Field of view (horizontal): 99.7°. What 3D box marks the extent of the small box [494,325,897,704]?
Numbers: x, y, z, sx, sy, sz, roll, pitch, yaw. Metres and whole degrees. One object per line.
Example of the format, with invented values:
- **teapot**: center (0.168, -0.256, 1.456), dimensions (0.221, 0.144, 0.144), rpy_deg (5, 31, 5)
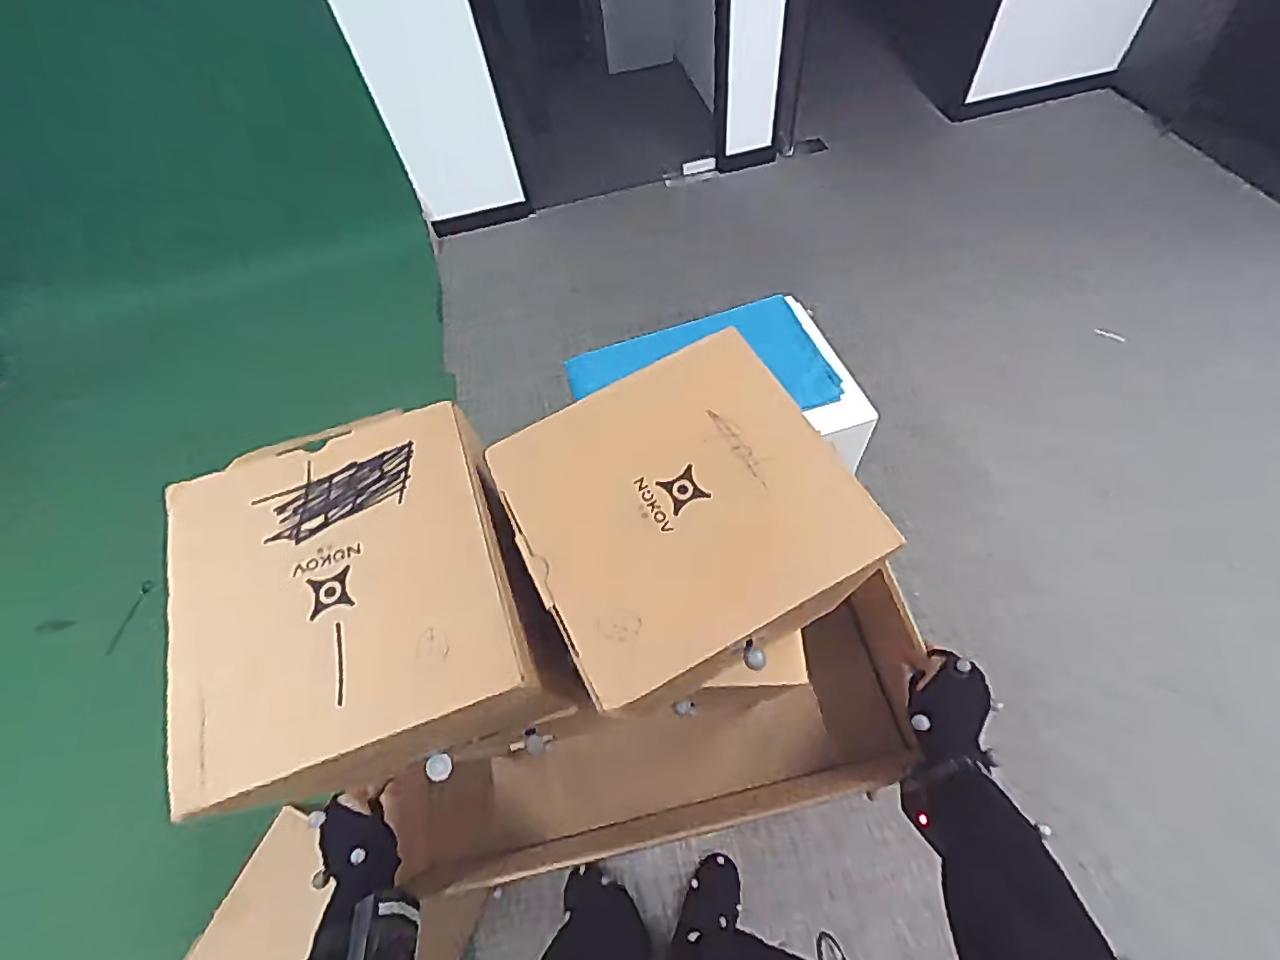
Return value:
- **small box**: center (0.031, 0.036, 0.371), dimensions (0.179, 0.176, 0.168), rpy_deg (-27, 65, -7)
